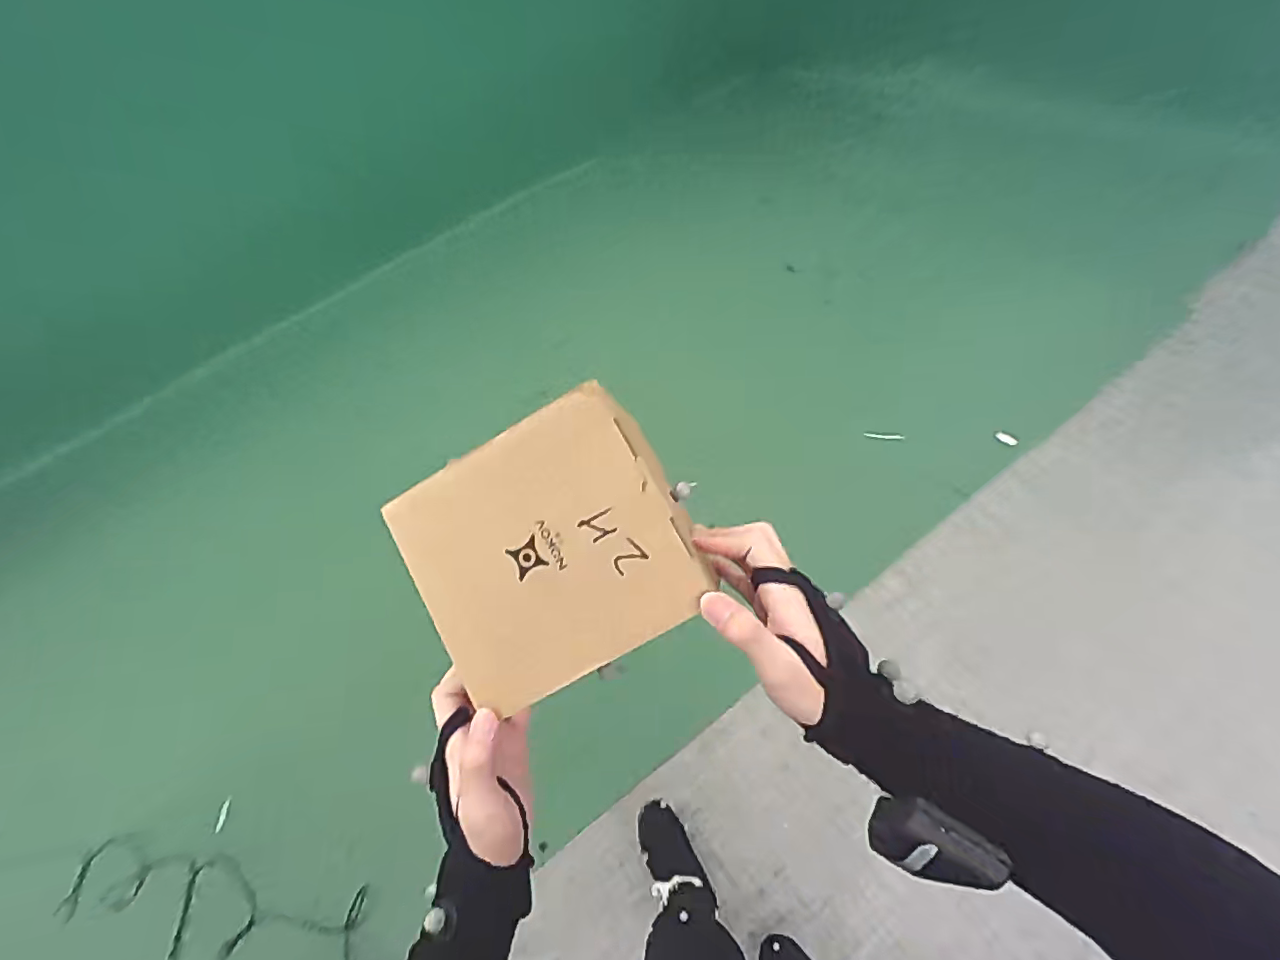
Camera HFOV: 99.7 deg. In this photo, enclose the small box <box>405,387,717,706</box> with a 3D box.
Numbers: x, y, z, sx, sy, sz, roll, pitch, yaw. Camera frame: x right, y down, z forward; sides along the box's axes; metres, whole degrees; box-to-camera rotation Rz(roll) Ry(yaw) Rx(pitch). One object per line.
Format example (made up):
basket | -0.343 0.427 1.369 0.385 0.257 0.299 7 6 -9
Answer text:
small box | -0.048 0.053 0.449 0.179 0.176 0.168 -29 81 6
